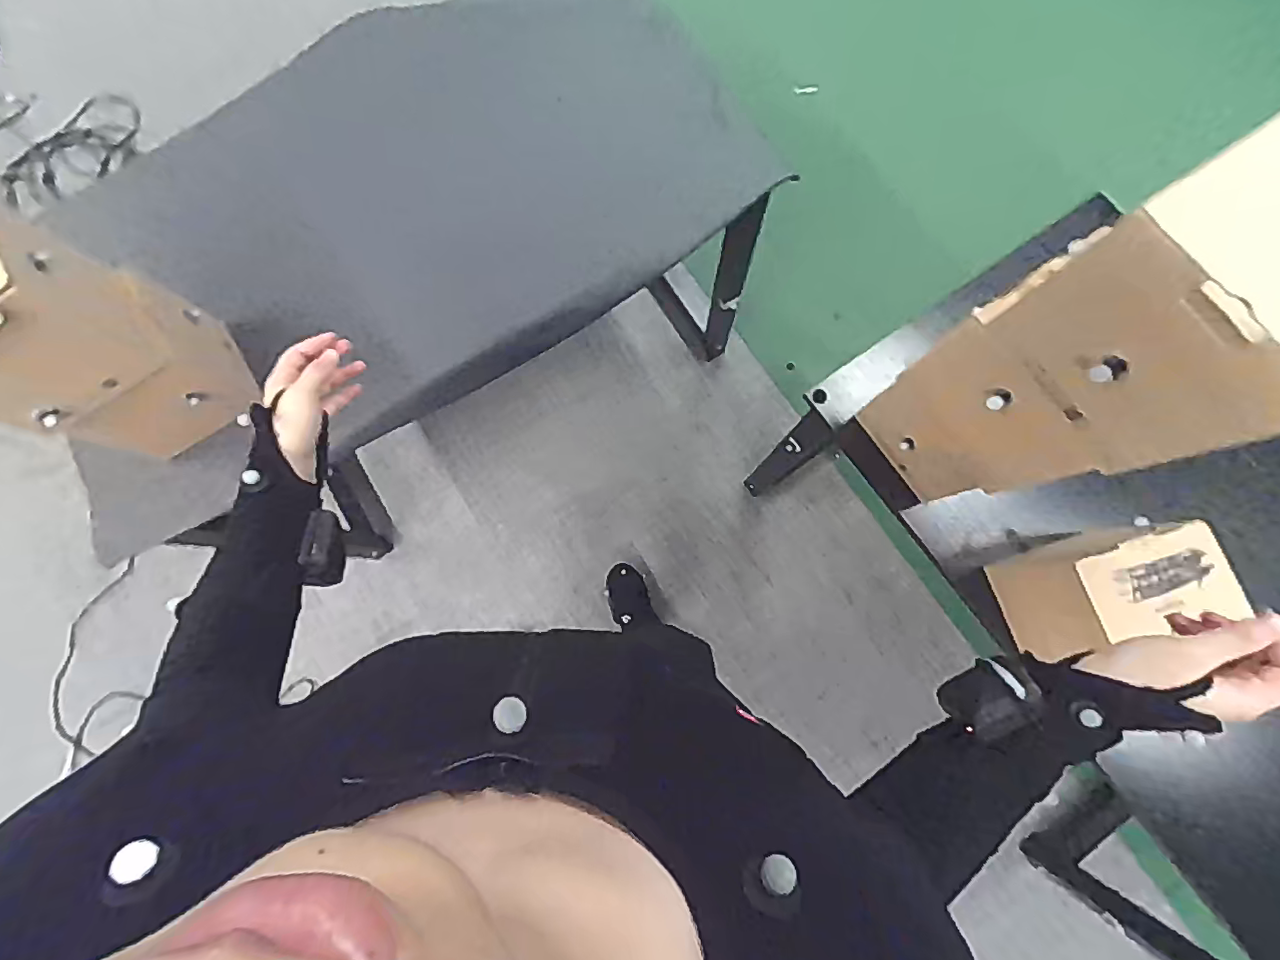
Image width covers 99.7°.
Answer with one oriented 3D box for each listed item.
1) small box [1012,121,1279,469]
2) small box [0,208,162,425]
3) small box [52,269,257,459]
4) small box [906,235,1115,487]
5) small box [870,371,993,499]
[{"bbox_3d":[0.422,-0.127,0.397,0.179,0.176,0.168,-32,80,-3],"label":"small box"},{"bbox_3d":[-0.709,-0.182,0.611,0.168,0.176,0.179,-38,78,-6],"label":"small box"},{"bbox_3d":[-0.695,-0.154,0.772,0.179,0.176,0.168,-34,78,-4],"label":"small box"},{"bbox_3d":[0.423,-0.106,0.560,0.168,0.176,0.179,-34,80,-4],"label":"small box"},{"bbox_3d":[0.438,-0.091,0.722,0.179,0.176,0.168,-33,81,-5],"label":"small box"}]
